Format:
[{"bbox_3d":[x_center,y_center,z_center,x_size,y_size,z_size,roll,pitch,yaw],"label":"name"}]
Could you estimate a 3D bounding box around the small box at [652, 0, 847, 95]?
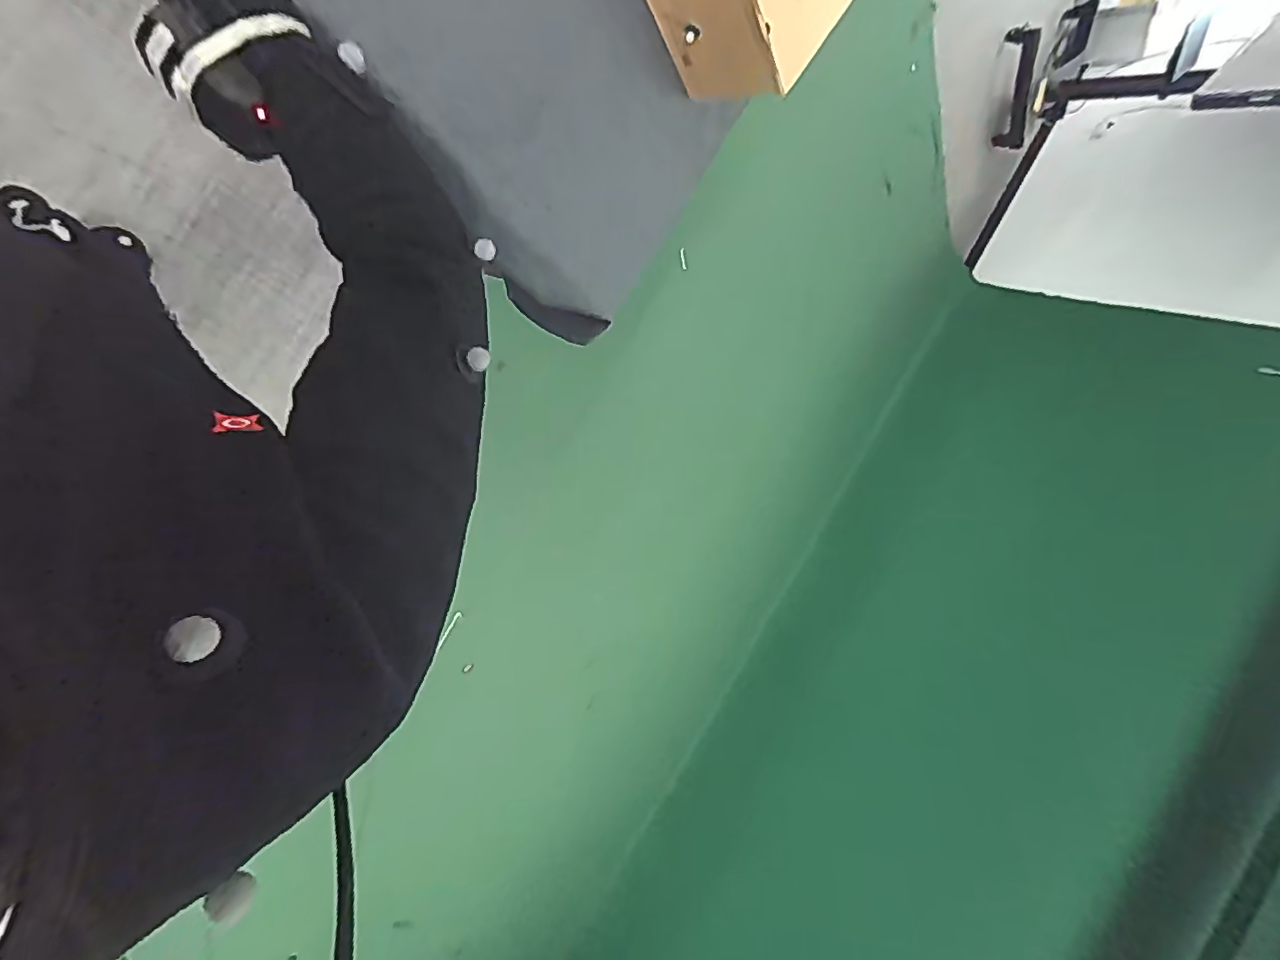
[{"bbox_3d":[0.141,-0.641,0.698,0.179,0.176,0.168,-55,142,-4],"label":"small box"}]
